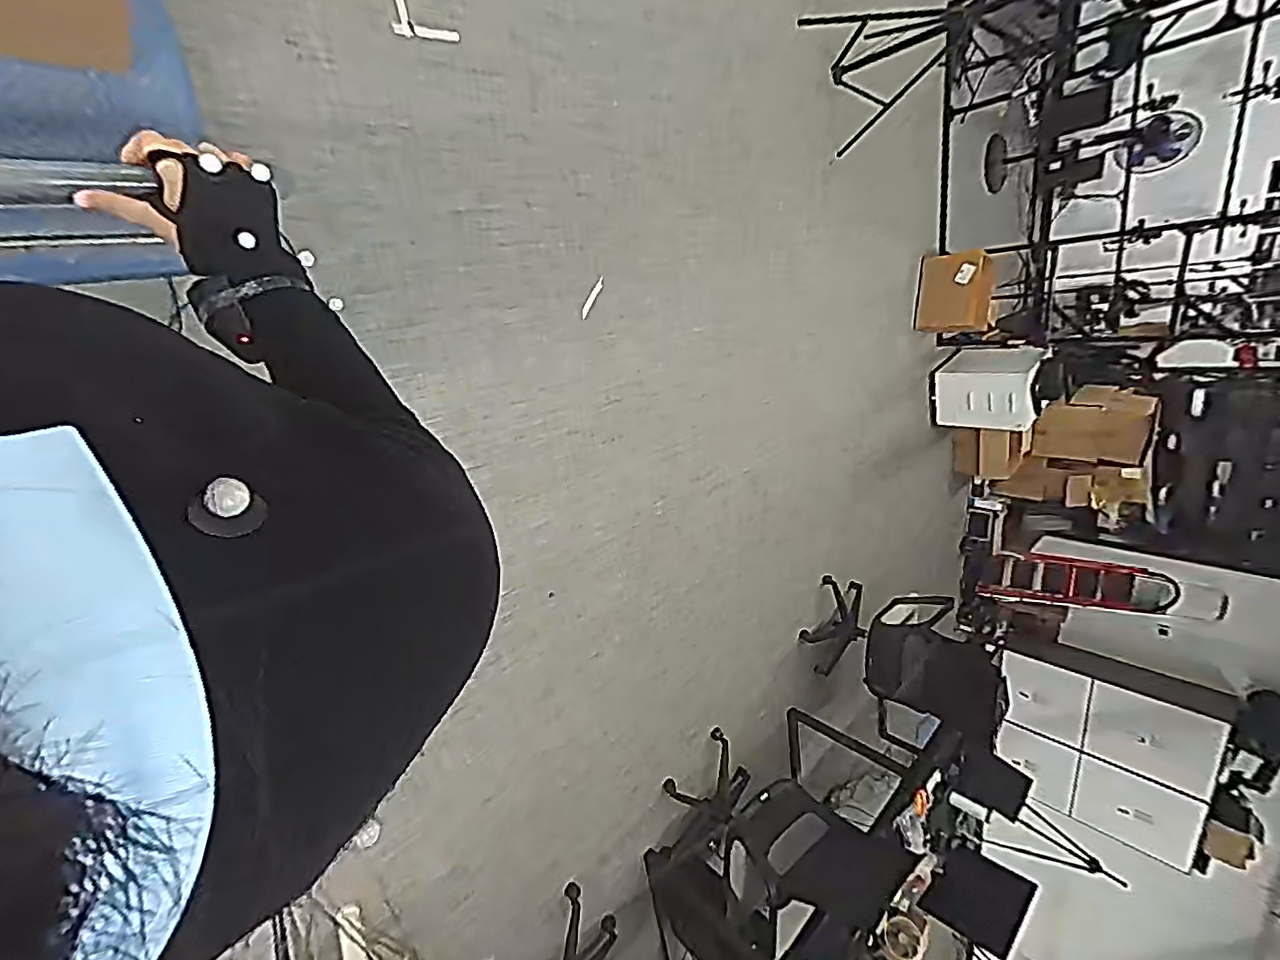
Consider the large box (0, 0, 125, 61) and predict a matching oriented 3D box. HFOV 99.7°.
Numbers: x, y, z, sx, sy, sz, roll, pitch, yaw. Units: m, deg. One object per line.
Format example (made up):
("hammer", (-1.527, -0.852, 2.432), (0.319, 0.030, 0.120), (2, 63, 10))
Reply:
("large box", (-0.939, -0.763, 0.643), (0.408, 0.320, 0.320), (-21, 112, -37))
